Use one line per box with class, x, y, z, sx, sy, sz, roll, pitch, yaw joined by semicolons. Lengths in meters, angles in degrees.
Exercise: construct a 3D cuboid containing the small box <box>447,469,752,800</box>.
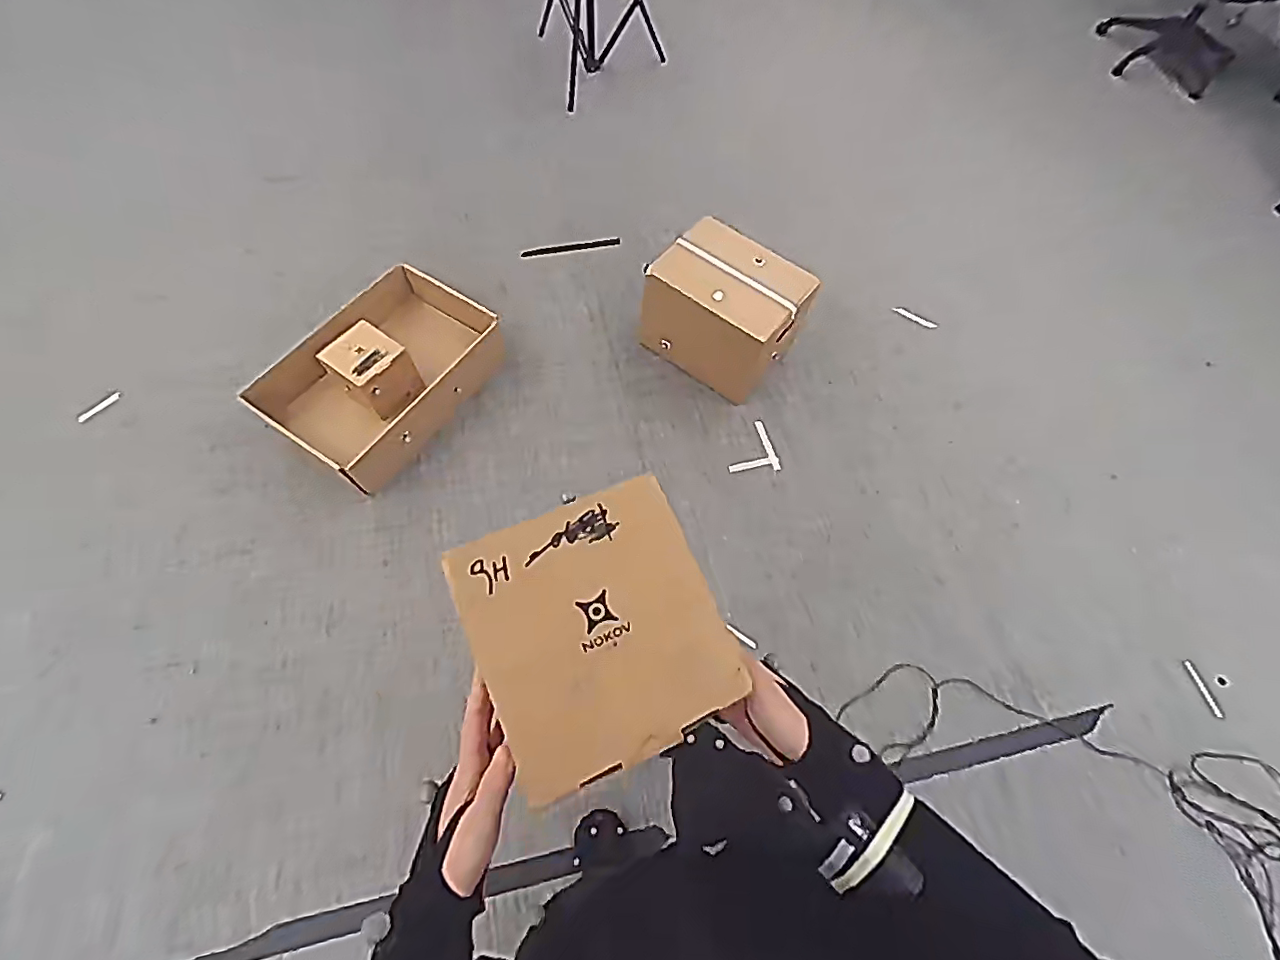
small box;-0.042;0.116;0.445;0.168;0.176;0.179;-21;79;-19
